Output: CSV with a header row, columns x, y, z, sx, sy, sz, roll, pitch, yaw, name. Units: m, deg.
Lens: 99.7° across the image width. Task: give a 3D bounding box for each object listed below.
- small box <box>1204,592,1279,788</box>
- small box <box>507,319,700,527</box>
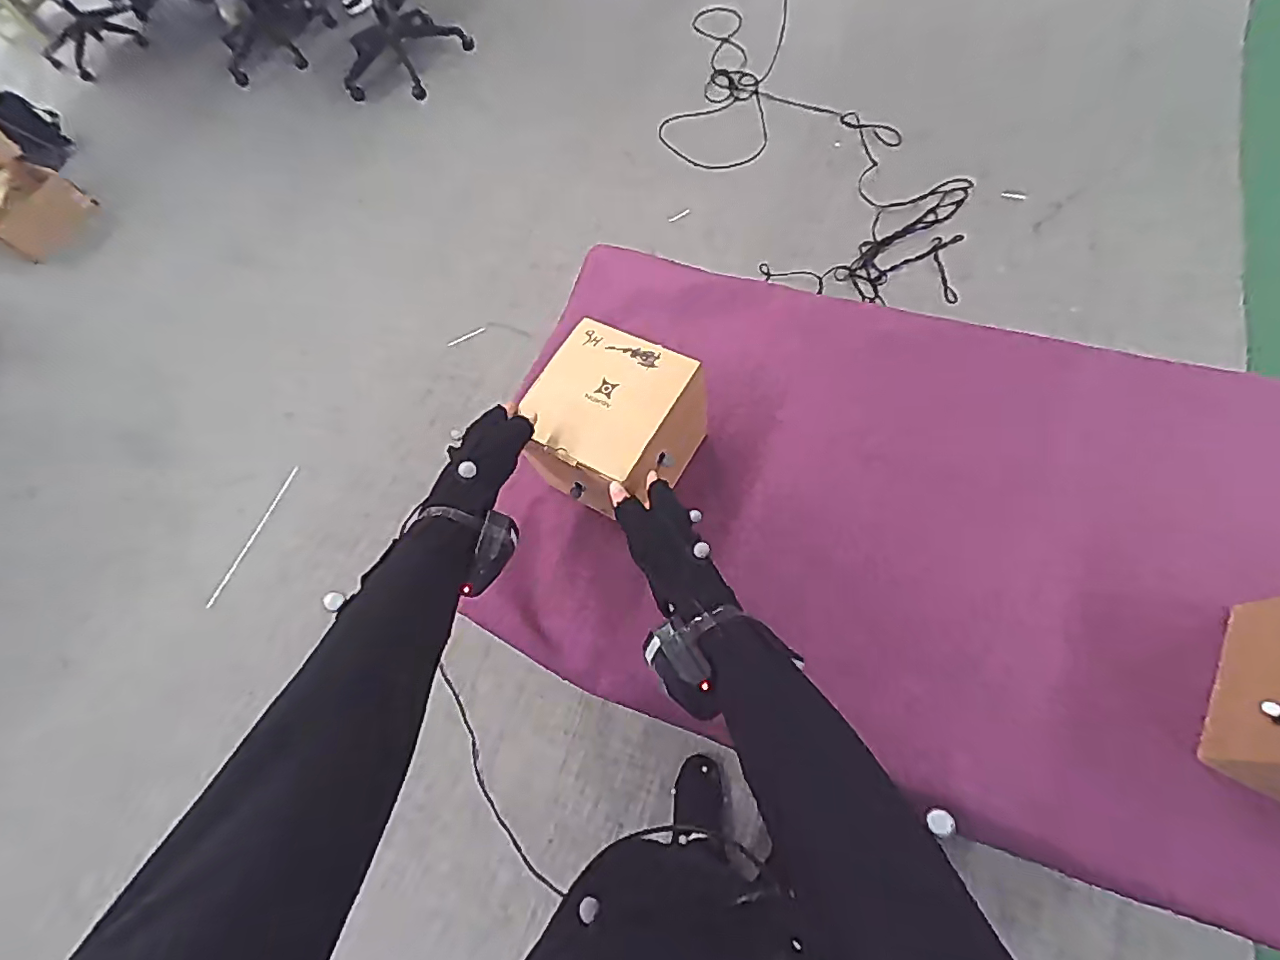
x,y,z,sx,sy,sz,roll,pitch,yaw,name
0.642,0.199,0.453,0.168,0.176,0.179,27,72,20,small box
-0.031,-0.064,0.690,0.168,0.176,0.179,26,73,19,small box
